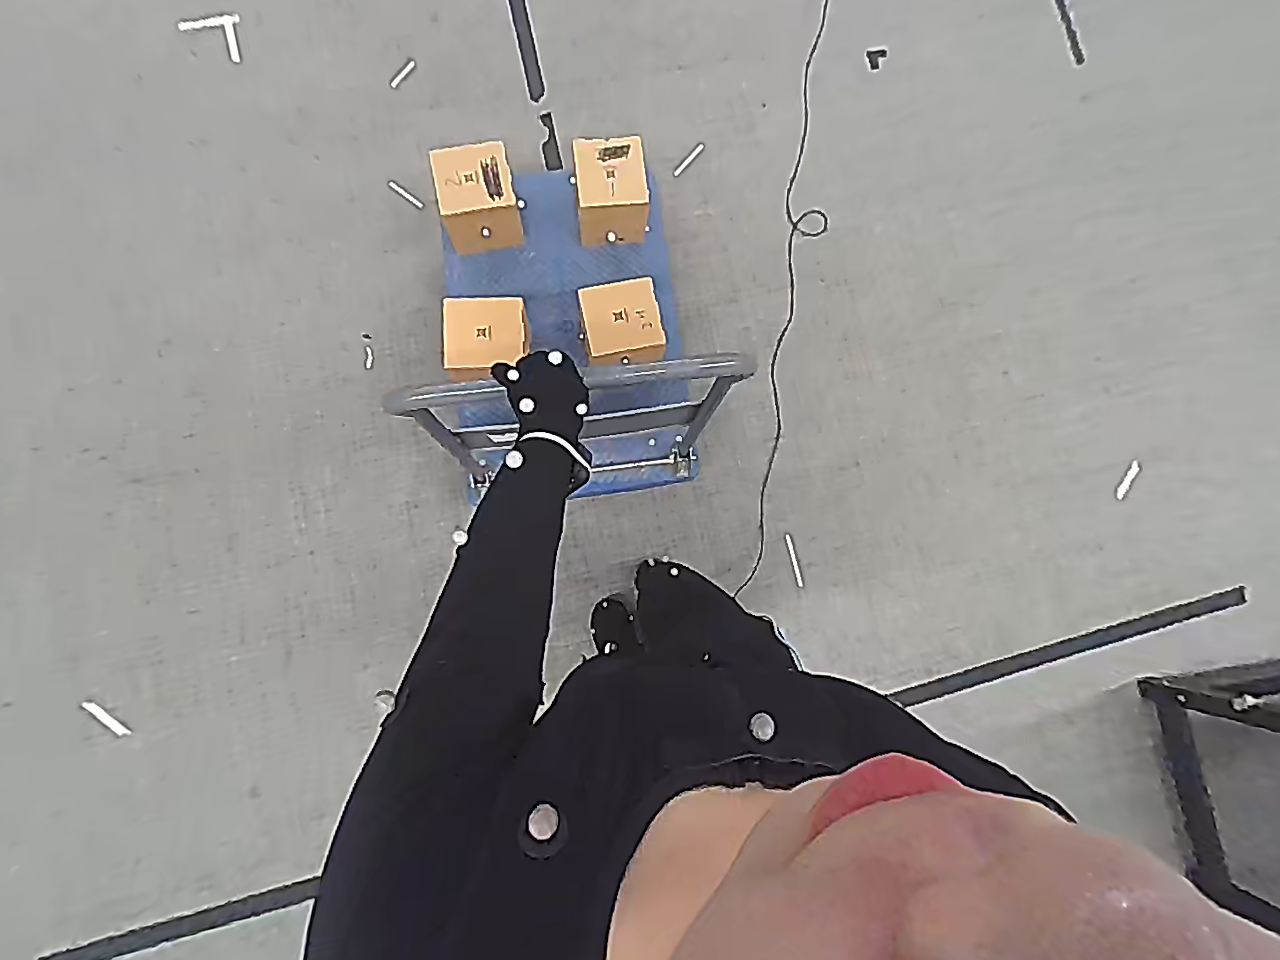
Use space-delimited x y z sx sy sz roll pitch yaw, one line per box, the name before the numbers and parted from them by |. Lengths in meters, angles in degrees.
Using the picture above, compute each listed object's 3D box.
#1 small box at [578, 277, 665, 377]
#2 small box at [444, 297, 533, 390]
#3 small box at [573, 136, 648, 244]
small box | -0.046 -0.361 1.304 0.179 0.176 0.168 -12 83 -6
small box | -0.351 -0.316 1.275 0.179 0.176 0.168 -3 82 -7
small box | -0.077 -0.719 1.352 0.168 0.176 0.179 -7 84 -5
